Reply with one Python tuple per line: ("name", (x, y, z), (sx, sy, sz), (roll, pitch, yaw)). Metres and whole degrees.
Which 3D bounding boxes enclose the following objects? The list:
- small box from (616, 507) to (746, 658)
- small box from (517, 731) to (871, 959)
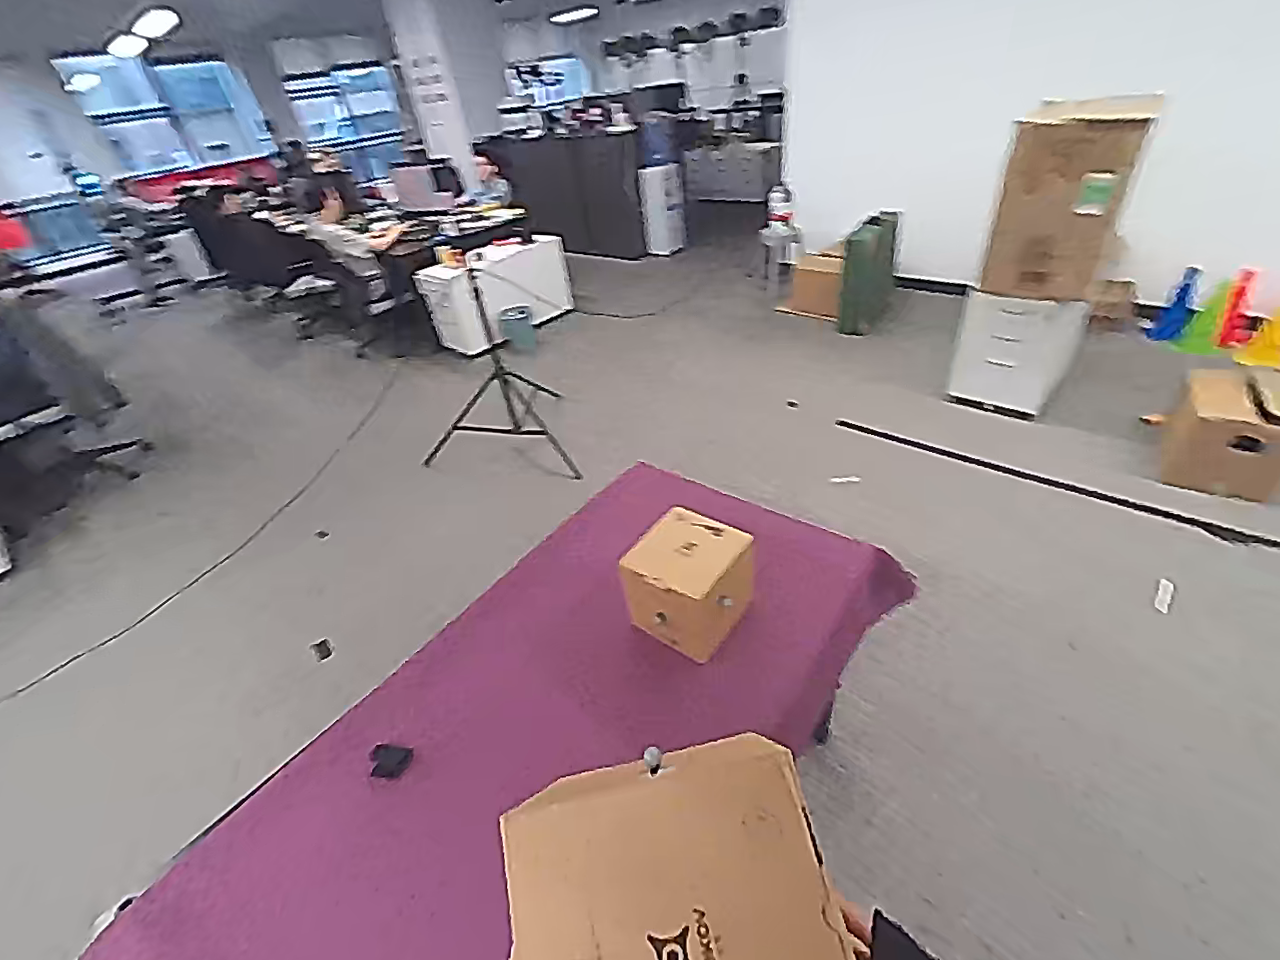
("small box", (0.085, 0.184, 0.977), (0.168, 0.176, 0.179), (20, 46, 34))
("small box", (0.034, 0.273, 0.359), (0.179, 0.176, 0.168), (-13, 66, 0))
